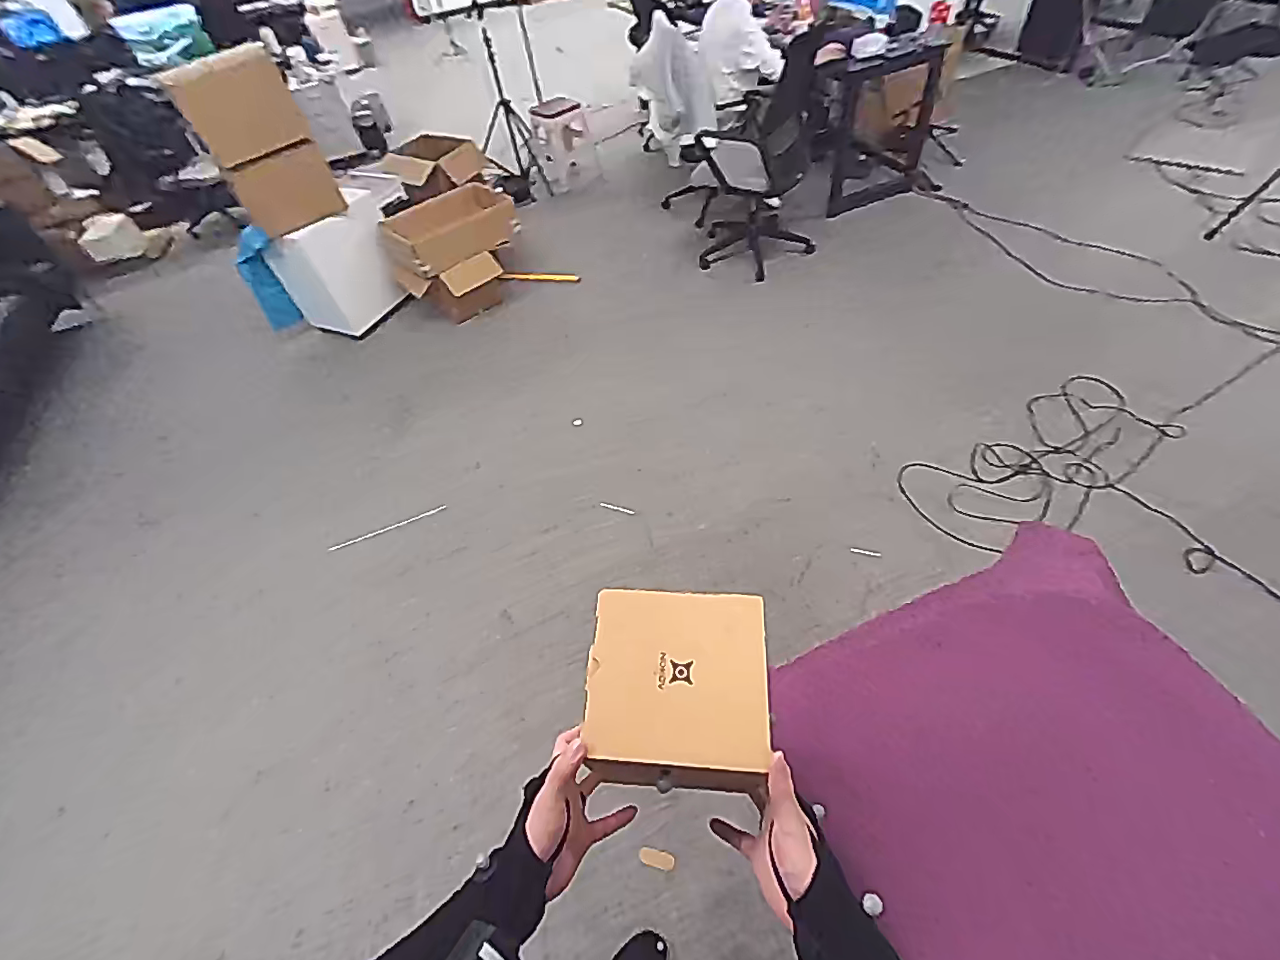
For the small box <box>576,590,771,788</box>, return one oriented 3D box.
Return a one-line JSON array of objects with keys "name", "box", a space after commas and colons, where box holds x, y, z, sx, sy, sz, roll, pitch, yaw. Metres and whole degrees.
[{"name": "small box", "box": [0.041, 0.232, 0.590, 0.179, 0.176, 0.168, 0, 55, 7]}]
